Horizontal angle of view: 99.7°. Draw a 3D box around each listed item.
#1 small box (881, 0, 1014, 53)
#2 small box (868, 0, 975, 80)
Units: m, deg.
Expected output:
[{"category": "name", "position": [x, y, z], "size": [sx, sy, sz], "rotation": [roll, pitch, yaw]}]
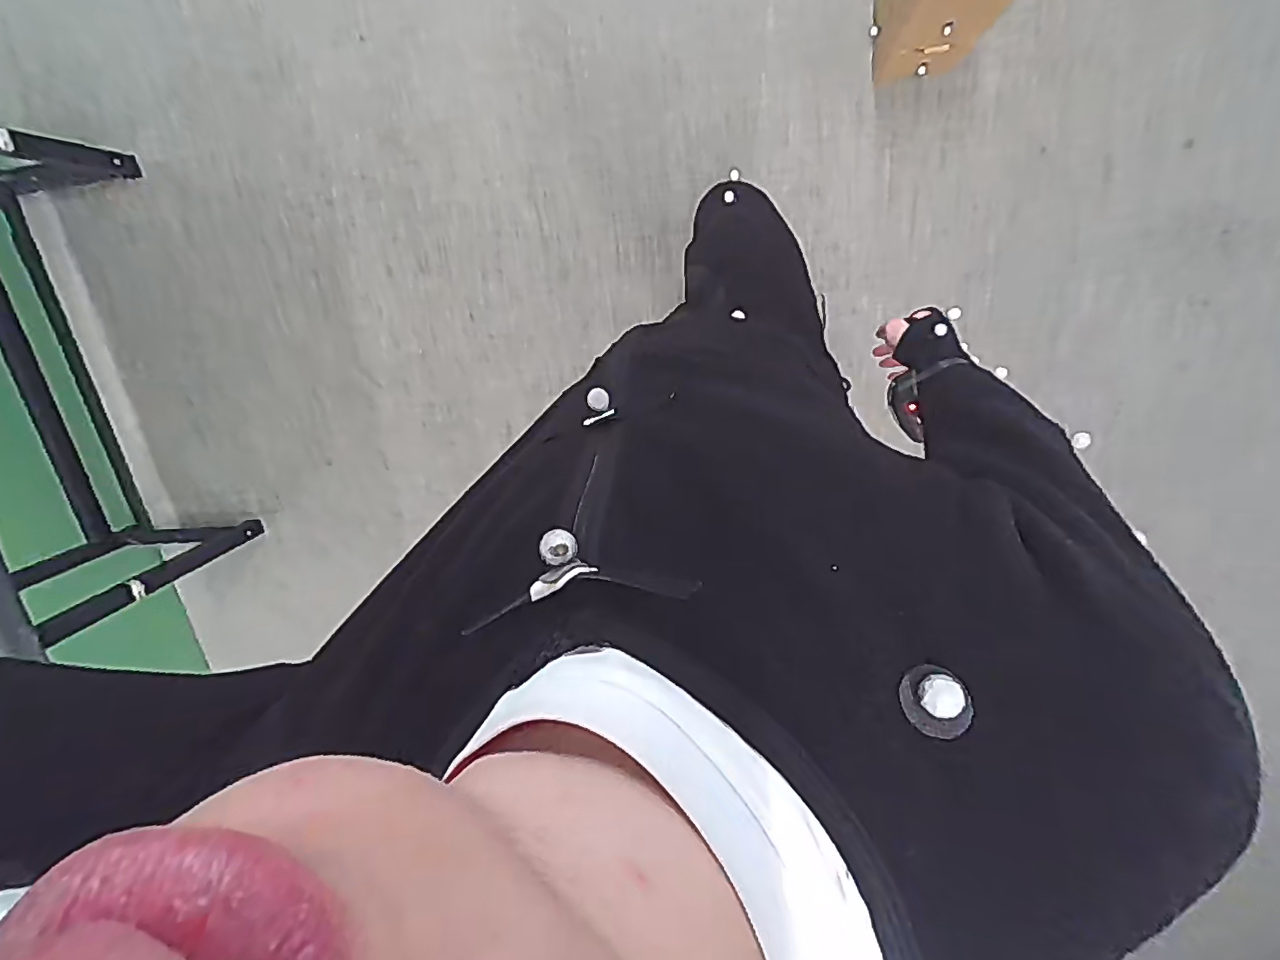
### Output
[{"category": "small box", "position": [0.547, -0.900, 0.961], "size": [0.179, 0.176, 0.168], "rotation": [-2, 108, 10]}, {"category": "small box", "position": [0.578, -0.955, 1.114], "size": [0.168, 0.176, 0.179], "rotation": [-2, 109, 9]}]
